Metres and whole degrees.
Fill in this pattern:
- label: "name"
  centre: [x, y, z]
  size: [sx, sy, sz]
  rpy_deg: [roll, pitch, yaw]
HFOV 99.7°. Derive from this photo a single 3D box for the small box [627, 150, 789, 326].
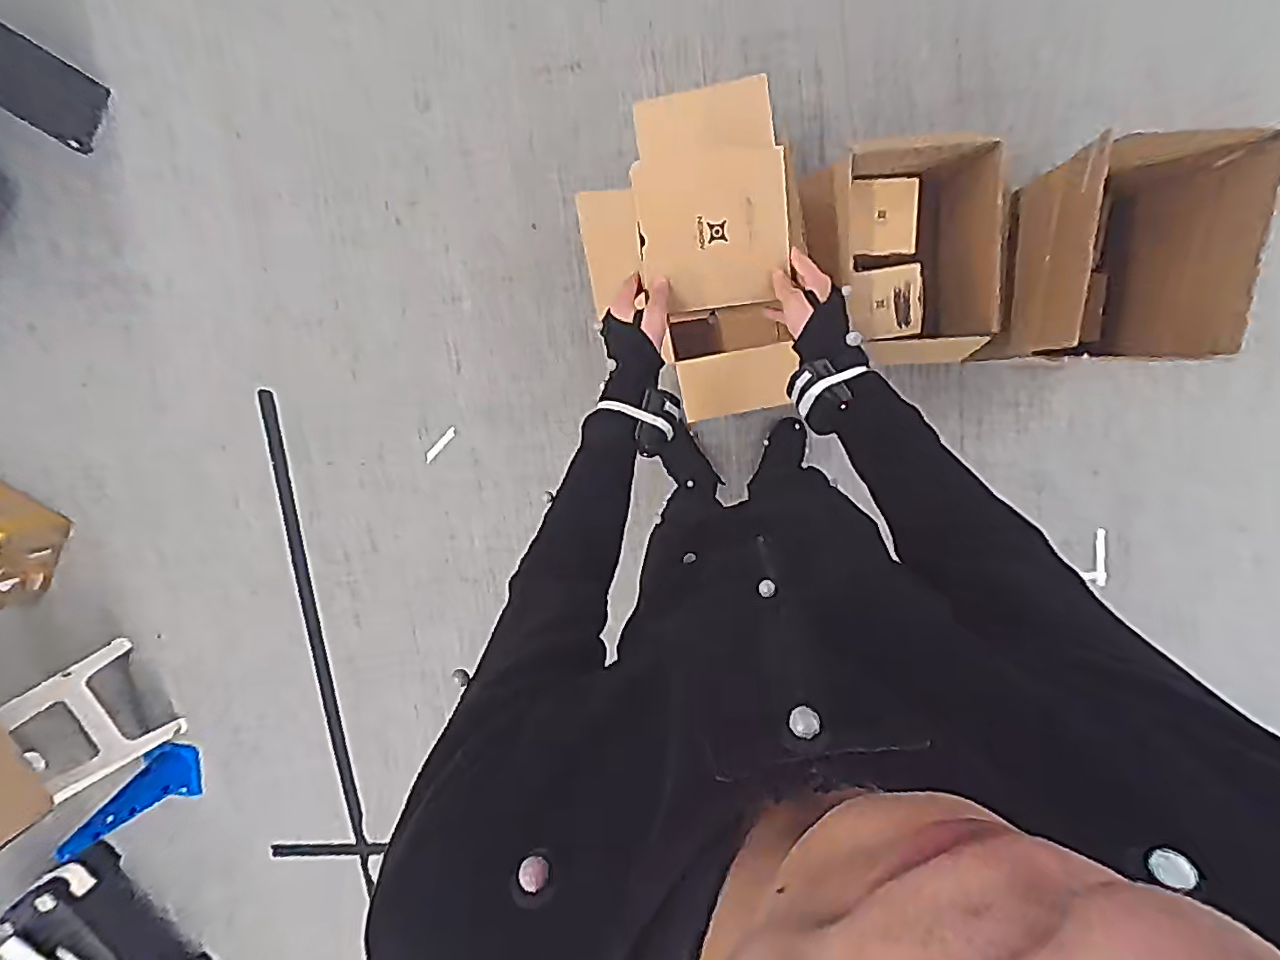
- label: "small box"
  centre: [0.082, -0.295, 0.697]
  size: [0.179, 0.176, 0.168]
  rpy_deg: [-6, 103, 3]
